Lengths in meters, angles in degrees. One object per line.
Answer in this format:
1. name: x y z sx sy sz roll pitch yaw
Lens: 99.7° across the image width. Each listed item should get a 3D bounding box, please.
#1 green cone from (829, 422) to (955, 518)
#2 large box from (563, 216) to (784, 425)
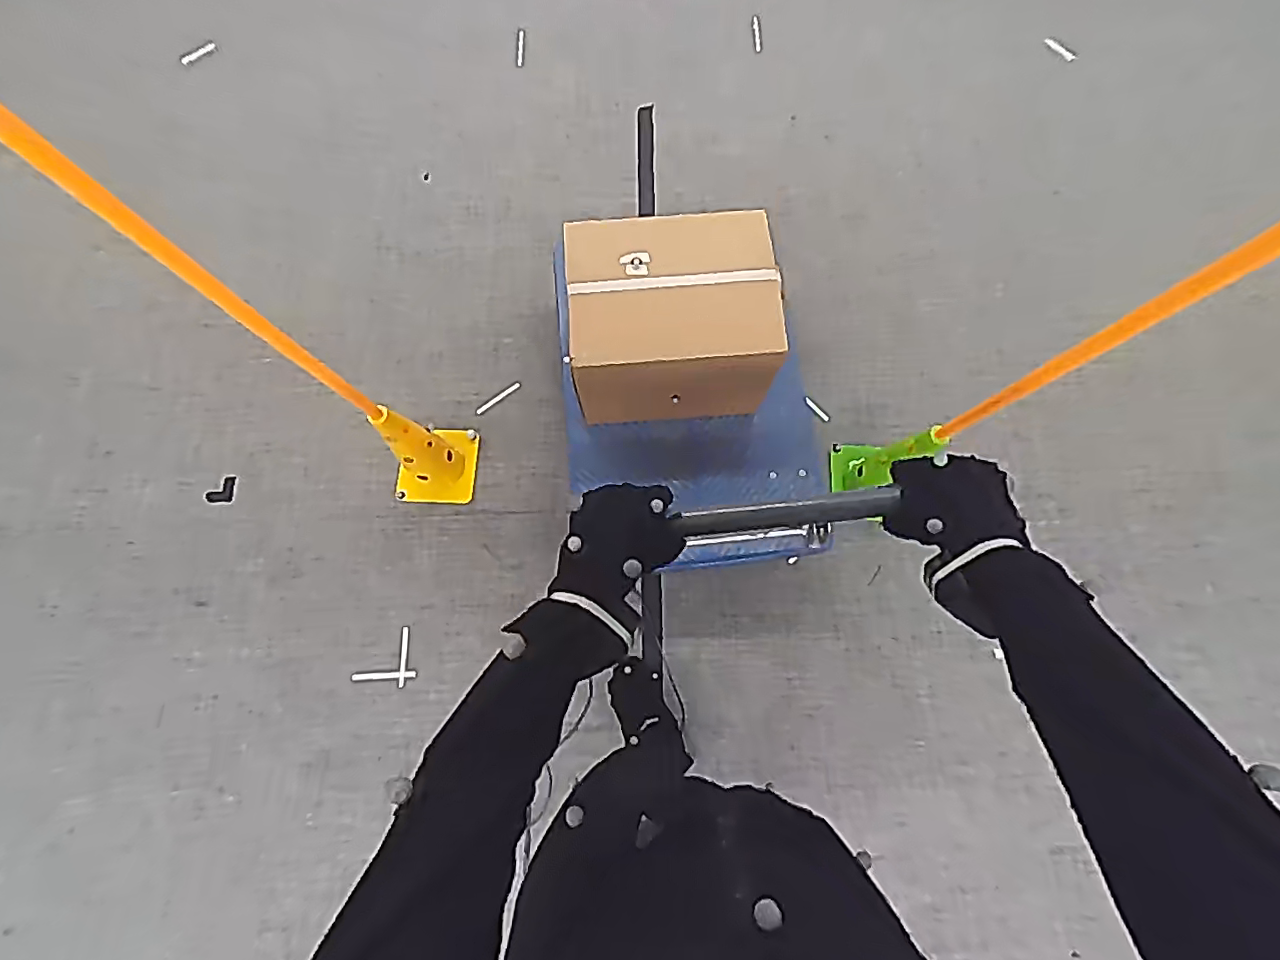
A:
1. green cone: 0.601 -0.046 1.248 0.202 0.368 0.200 3 75 0
2. large box: 0.061 -0.326 1.180 0.408 0.320 0.320 -5 75 0
